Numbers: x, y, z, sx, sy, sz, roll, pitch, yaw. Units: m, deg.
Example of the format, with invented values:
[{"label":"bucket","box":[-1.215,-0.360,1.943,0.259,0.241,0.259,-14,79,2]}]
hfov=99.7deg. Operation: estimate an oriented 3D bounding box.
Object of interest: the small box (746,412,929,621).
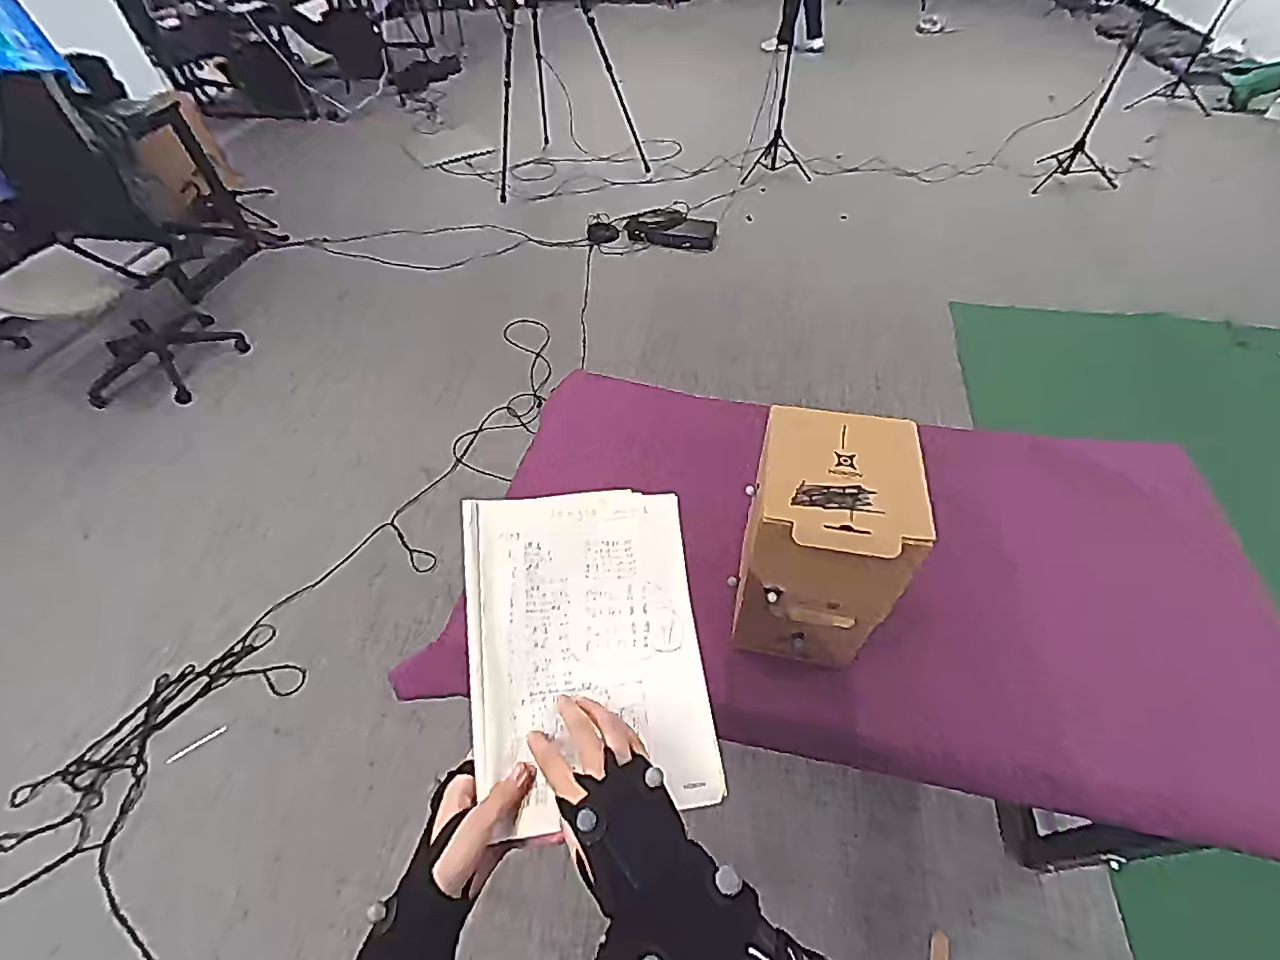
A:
[{"label":"small box","box":[0.223,0.045,0.646,0.168,0.176,0.179,9,49,10]}]

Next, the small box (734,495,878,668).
[{"label":"small box","box":[0.230,0.148,0.775,0.168,0.176,0.179,8,51,9]}]
